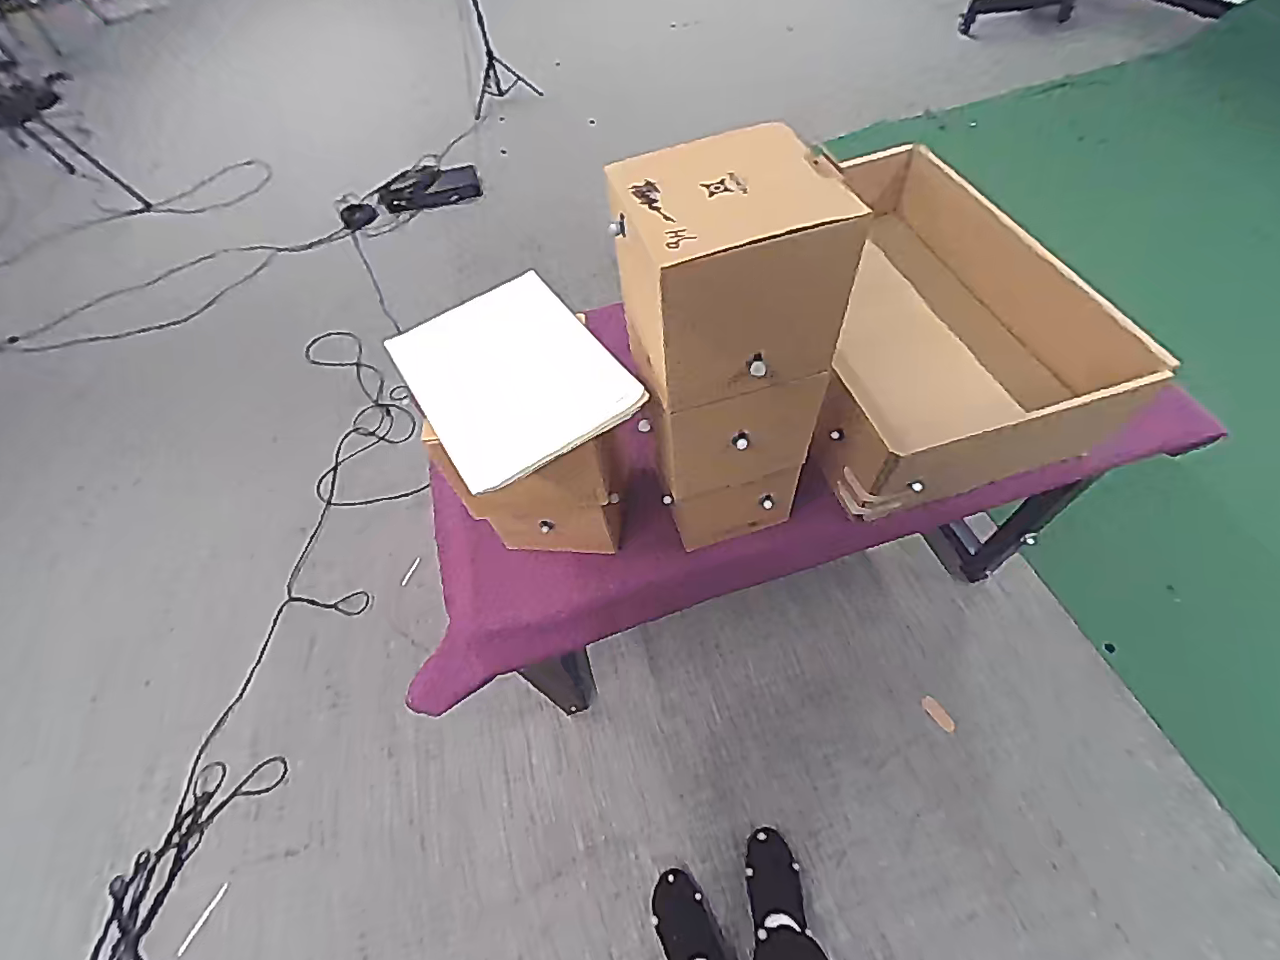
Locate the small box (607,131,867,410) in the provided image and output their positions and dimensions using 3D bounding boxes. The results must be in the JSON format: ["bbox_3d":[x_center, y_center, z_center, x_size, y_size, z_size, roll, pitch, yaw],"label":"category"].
[{"bbox_3d":[0.078,-0.194,0.519,0.179,0.176,0.168,-16,55,-5],"label":"small box"}]

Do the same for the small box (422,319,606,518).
[{"bbox_3d":[-0.136,-0.069,0.662,0.179,0.176,0.168,-7,57,3],"label":"small box"}]

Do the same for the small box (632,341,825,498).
[{"bbox_3d":[0.094,-0.104,0.655,0.179,0.176,0.168,-16,56,-4],"label":"small box"}]
